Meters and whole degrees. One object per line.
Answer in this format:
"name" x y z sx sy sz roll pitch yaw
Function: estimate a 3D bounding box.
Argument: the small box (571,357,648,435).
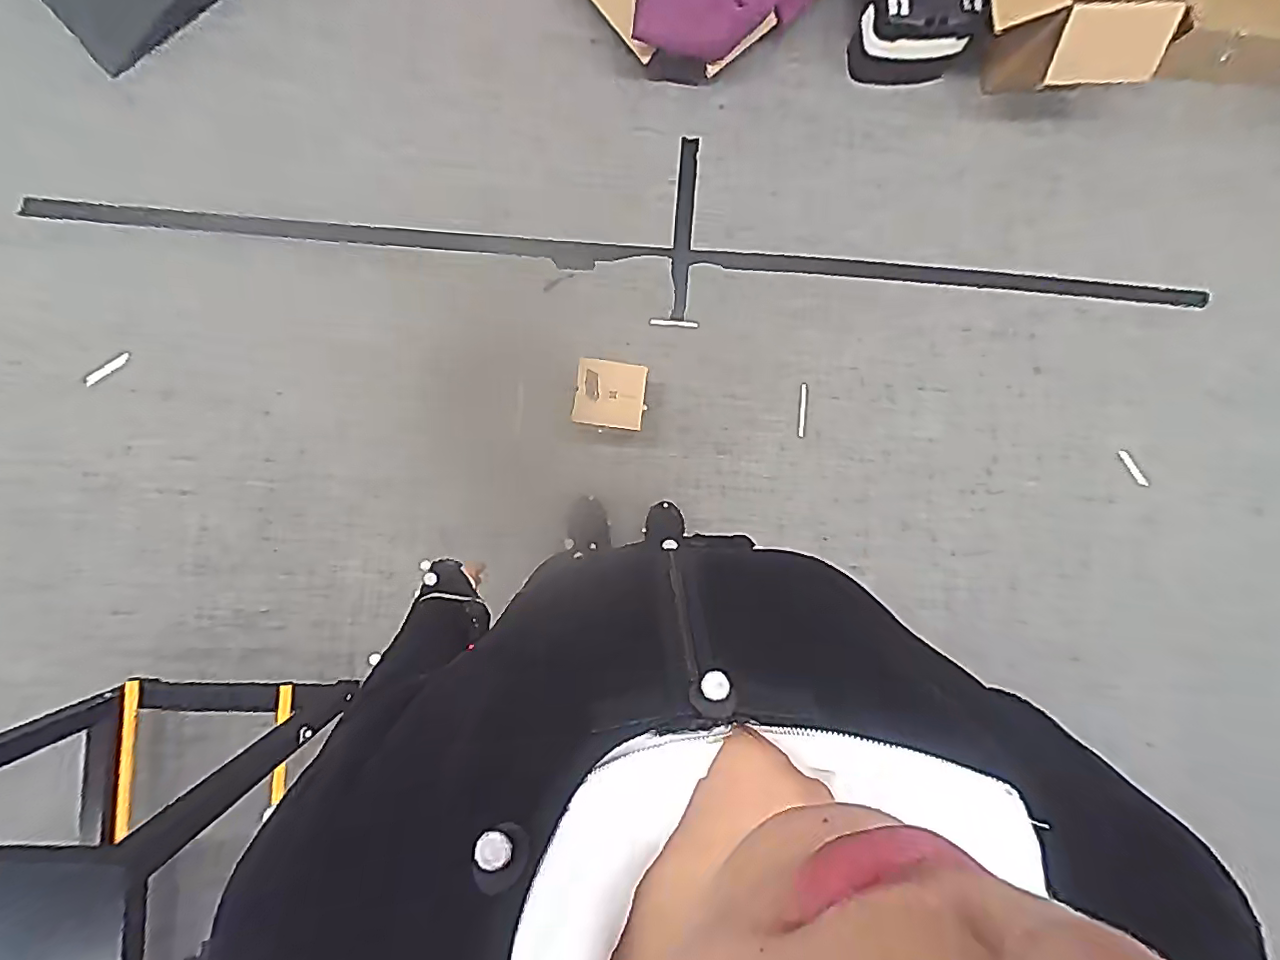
"small box" -0.081 -0.215 1.433 0.179 0.176 0.168 7 89 -4
